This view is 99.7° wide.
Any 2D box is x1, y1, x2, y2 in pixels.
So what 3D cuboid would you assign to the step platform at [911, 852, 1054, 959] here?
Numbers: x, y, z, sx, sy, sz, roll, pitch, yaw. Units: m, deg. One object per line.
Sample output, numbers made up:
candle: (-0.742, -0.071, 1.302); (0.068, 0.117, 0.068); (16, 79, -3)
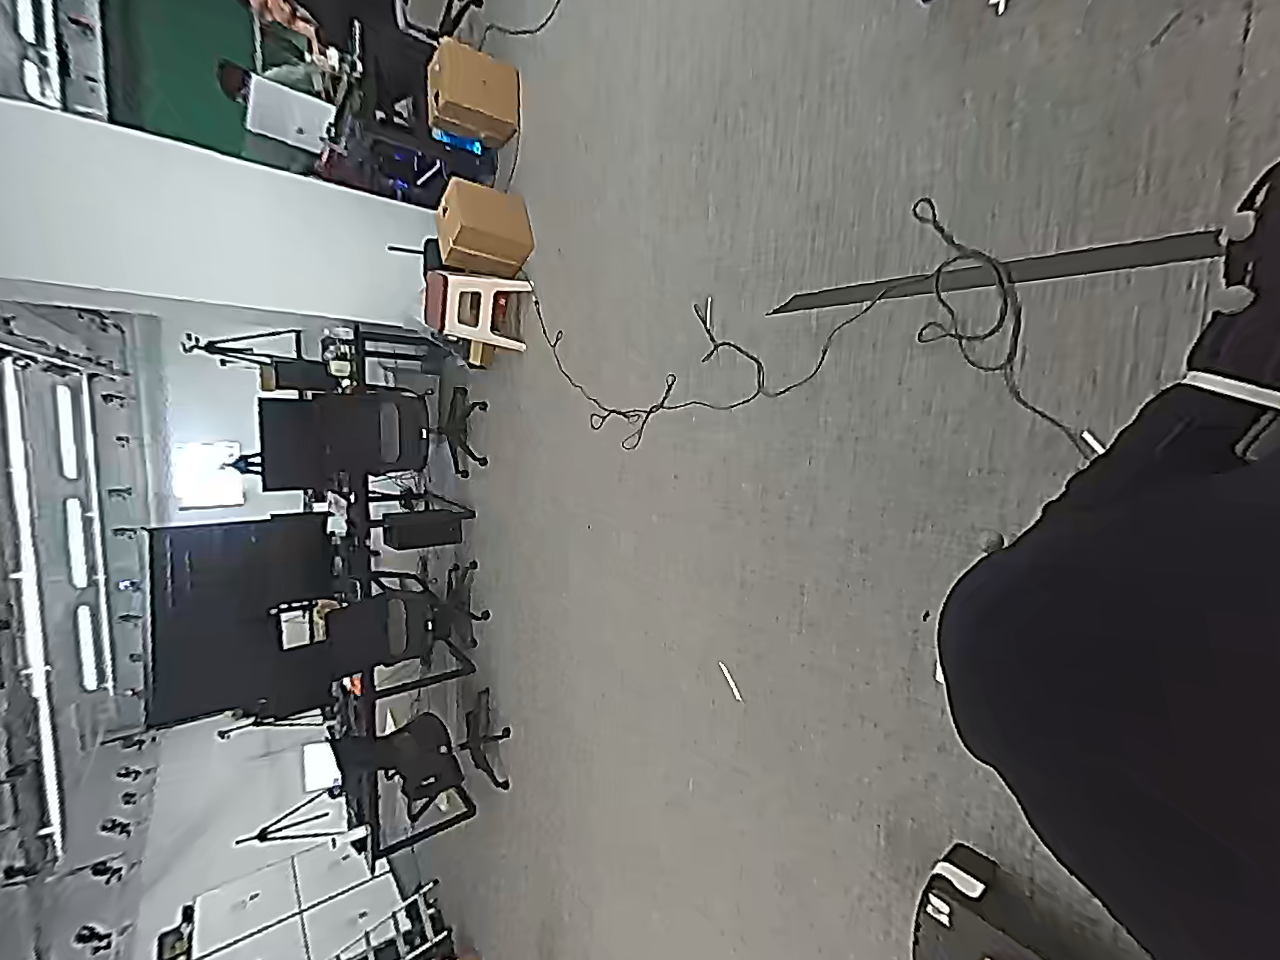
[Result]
step platform: (0.915, 1.111, 1.079); (0.684, 0.204, 0.286); (10, 101, 51)
